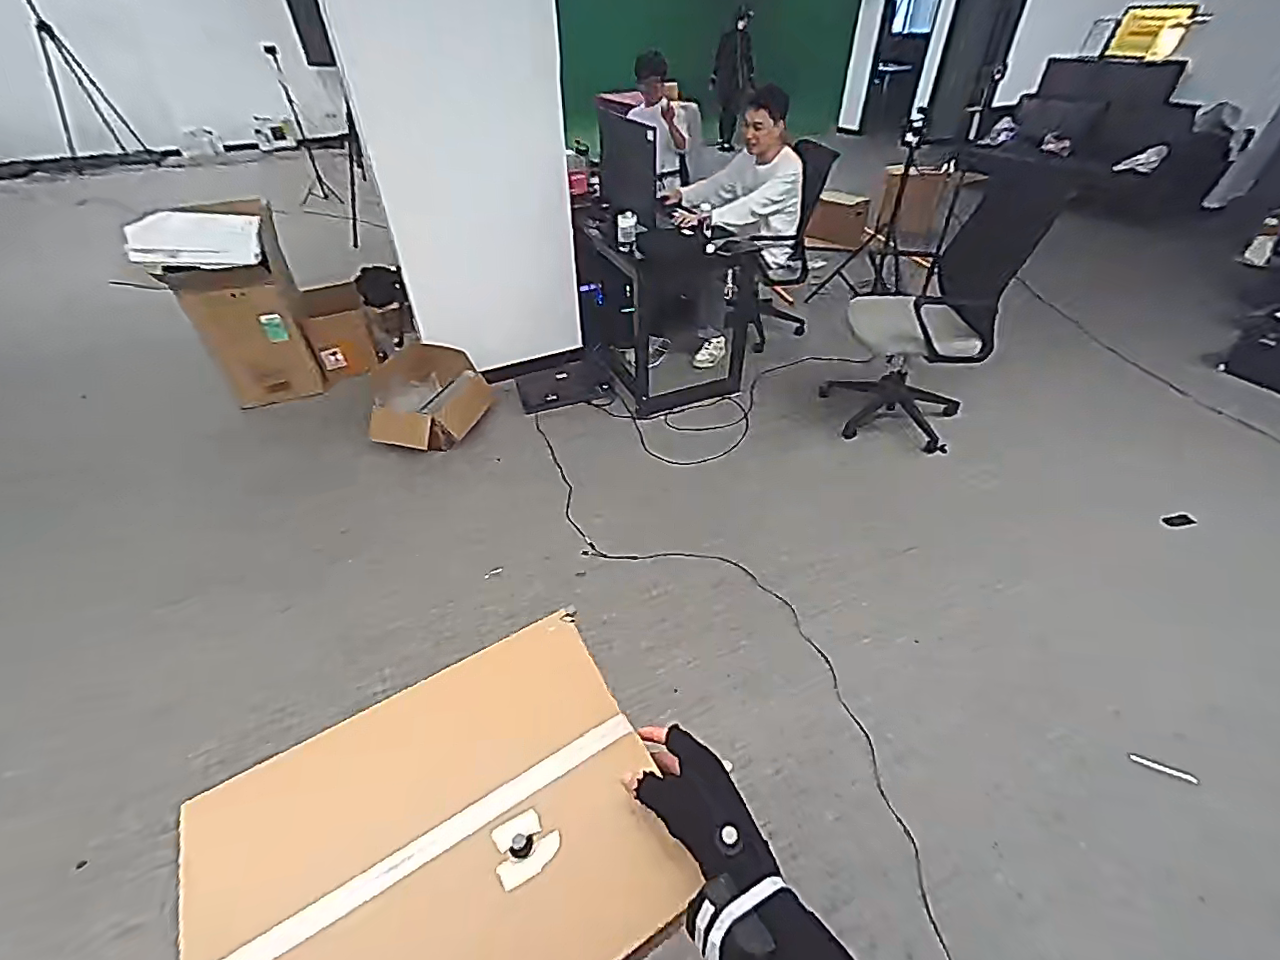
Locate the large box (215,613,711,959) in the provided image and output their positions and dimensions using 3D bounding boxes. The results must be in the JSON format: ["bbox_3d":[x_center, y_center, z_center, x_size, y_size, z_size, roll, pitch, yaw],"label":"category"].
[{"bbox_3d":[-0.176,0.435,0.621,0.408,0.320,0.320,-23,51,-19],"label":"large box"}]
